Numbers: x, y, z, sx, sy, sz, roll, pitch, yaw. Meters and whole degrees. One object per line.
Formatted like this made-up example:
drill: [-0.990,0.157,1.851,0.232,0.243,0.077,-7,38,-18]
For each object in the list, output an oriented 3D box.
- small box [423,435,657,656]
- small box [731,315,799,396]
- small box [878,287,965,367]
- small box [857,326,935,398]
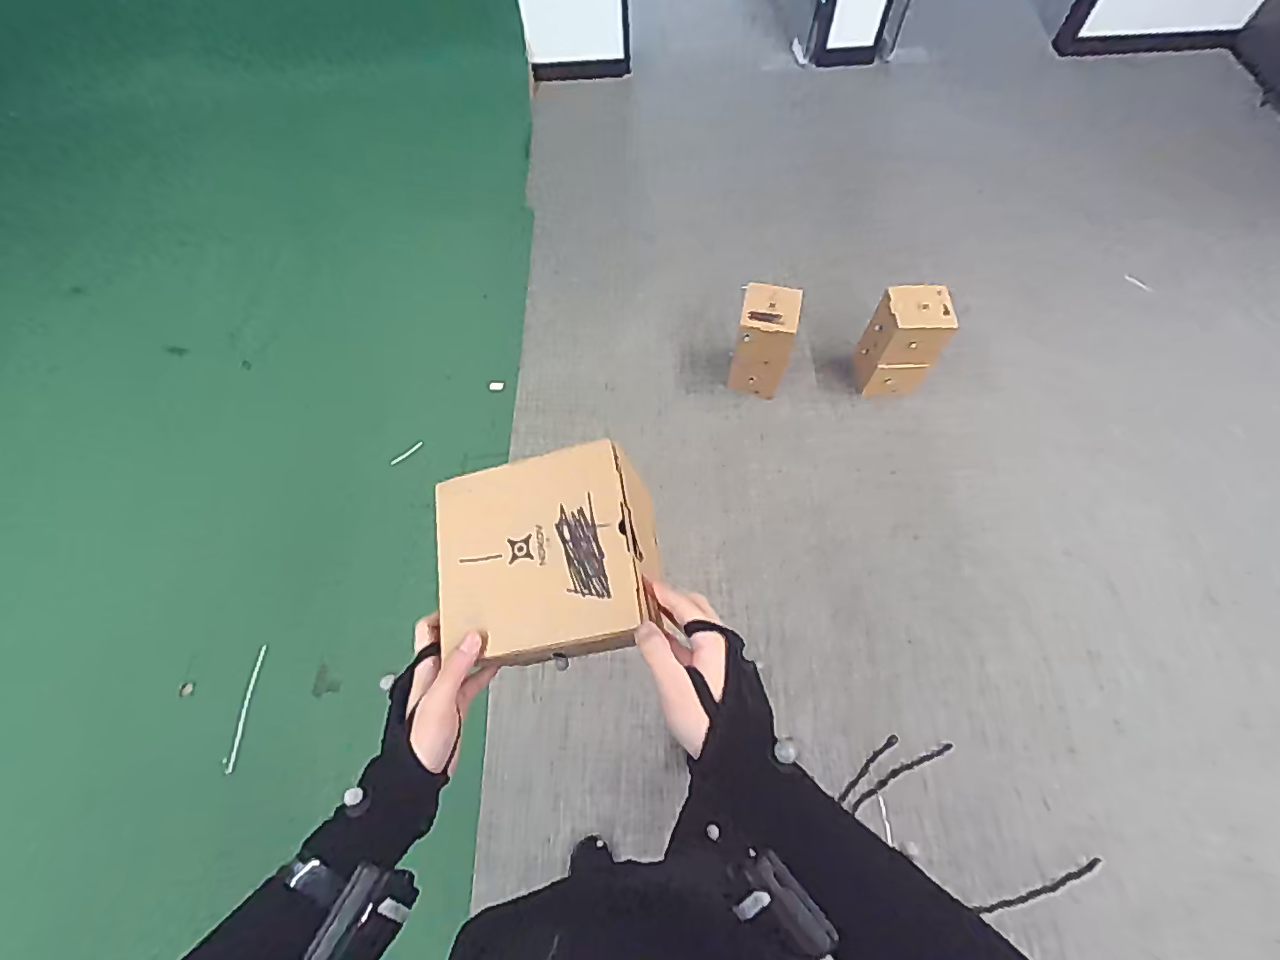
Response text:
small box: [-0.083,0.075,0.521,0.179,0.176,0.168,-10,69,8]
small box: [0.407,-0.405,1.782,0.168,0.176,0.179,19,66,9]
small box: [0.832,-0.455,1.619,0.179,0.176,0.168,2,65,3]
small box: [0.829,-0.381,1.766,0.168,0.176,0.179,0,64,1]
